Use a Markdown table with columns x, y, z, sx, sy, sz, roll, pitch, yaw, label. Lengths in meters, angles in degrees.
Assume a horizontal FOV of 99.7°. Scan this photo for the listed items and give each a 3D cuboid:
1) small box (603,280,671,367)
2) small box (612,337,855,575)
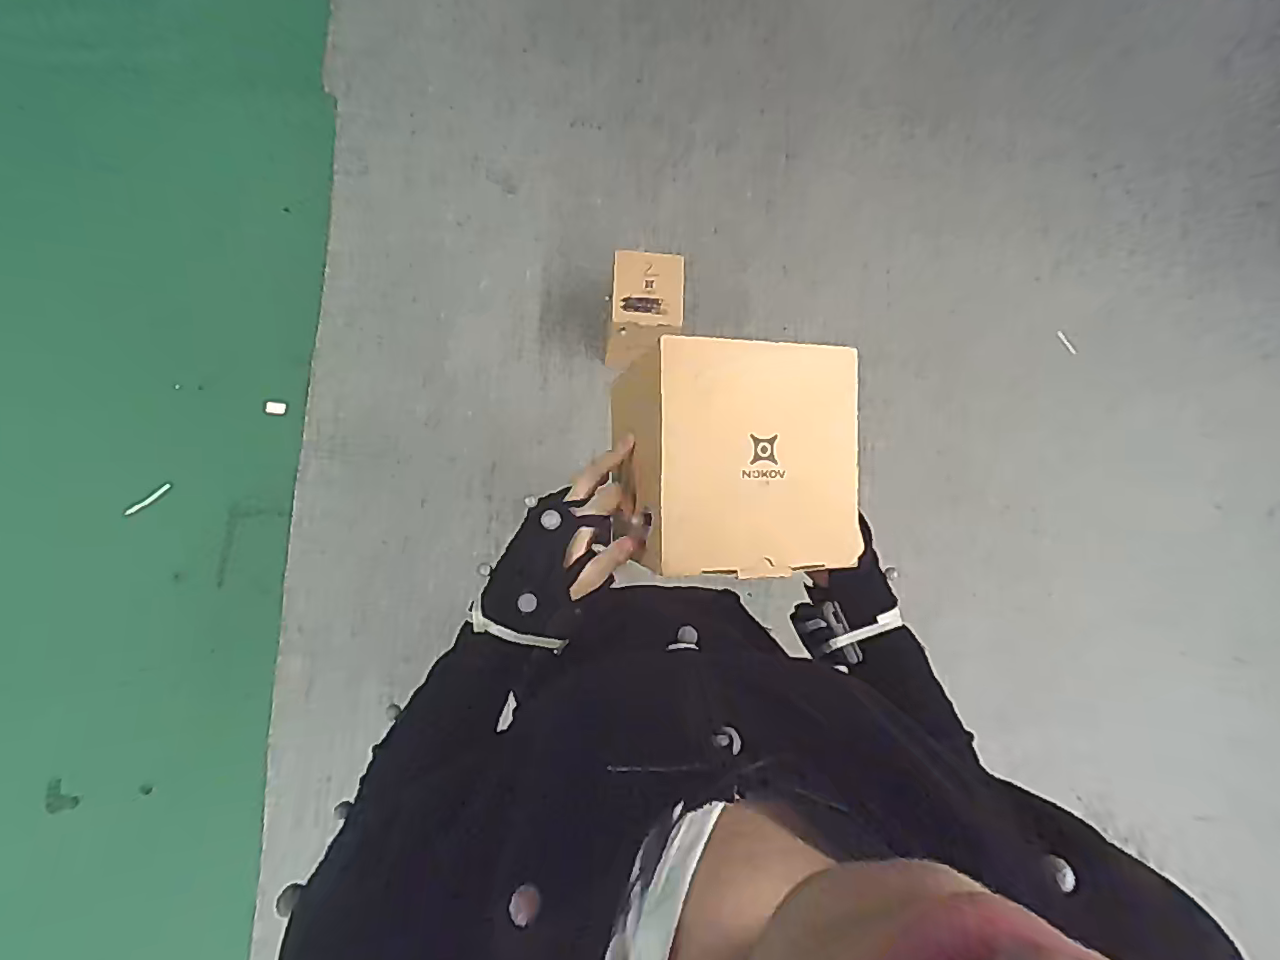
| x | y | z | sx | sy | sz | roll | pitch | yaw | label |
| --- | --- | --- | --- | --- | --- | --- | --- | --- | --- |
| -0.014 | -0.422 | 1.486 | 0.168 | 0.176 | 0.179 | 4 | 85 | -7 | small box |
| 0.071 | -0.018 | 0.489 | 0.168 | 0.176 | 0.179 | -1 | 91 | -15 | small box |
